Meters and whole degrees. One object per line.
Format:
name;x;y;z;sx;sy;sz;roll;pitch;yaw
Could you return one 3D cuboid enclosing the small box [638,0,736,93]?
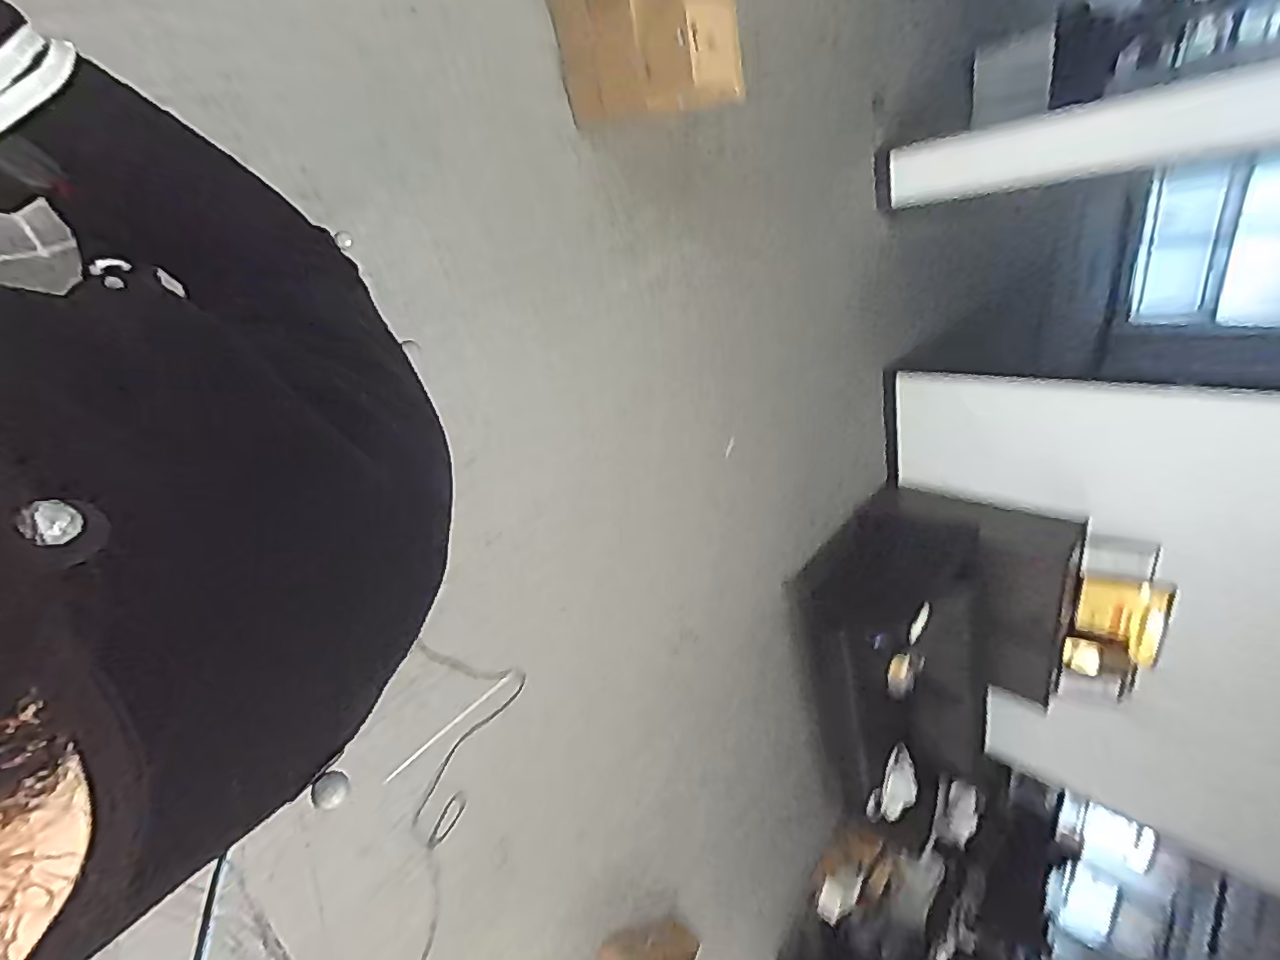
small box;0.121;-1.105;1.372;0.179;0.176;0.168;-31;122;-35
